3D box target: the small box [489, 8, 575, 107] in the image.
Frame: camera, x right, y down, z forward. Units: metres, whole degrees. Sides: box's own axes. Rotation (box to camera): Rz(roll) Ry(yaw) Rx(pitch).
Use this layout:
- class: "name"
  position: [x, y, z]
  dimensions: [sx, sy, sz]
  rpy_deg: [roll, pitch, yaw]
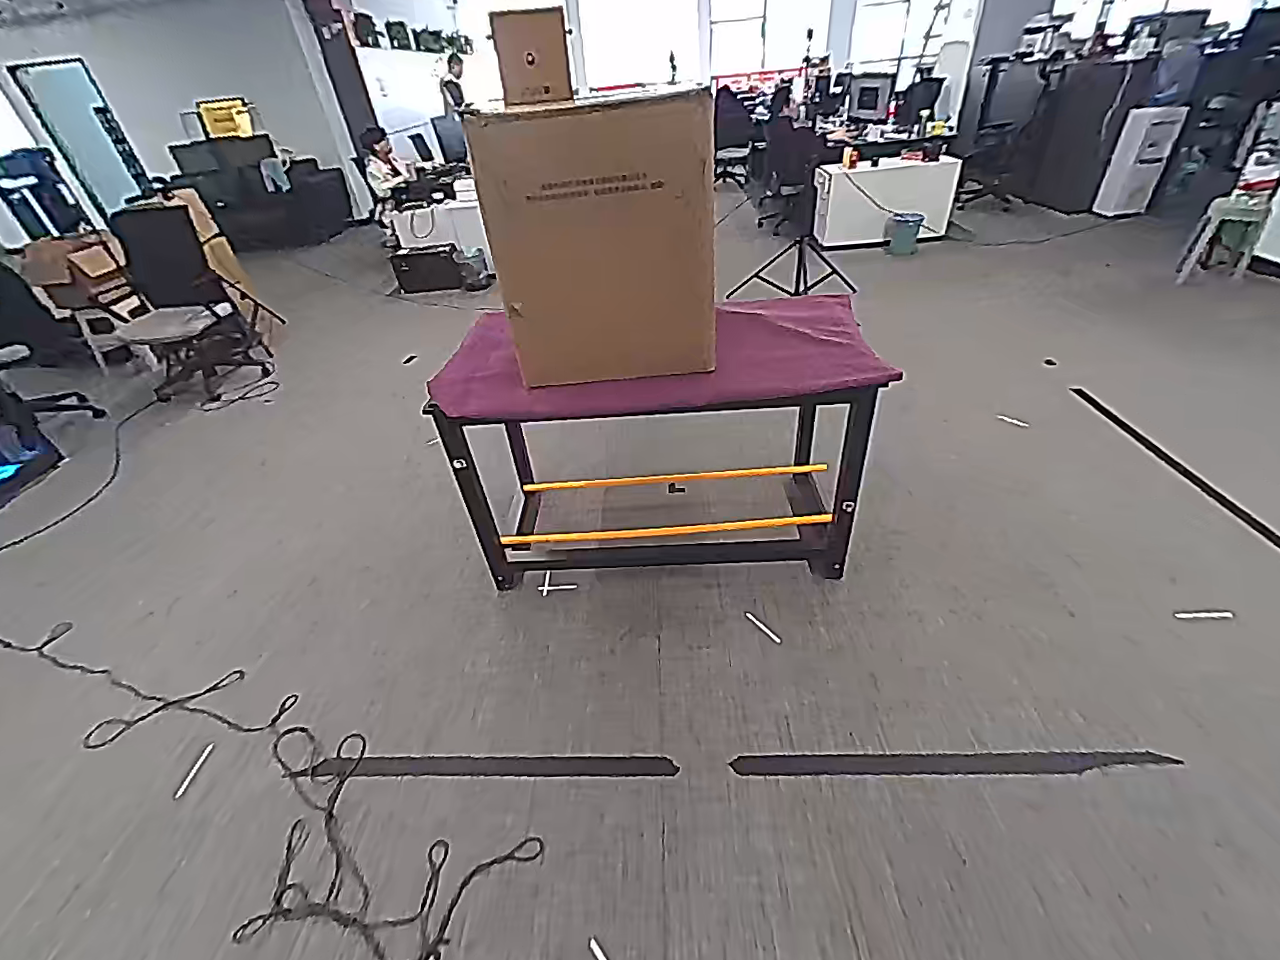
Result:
- class: "small box"
  position: [-0.245, -0.982, 1.267]
  dimensions: [0.168, 0.176, 0.179]
  rpy_deg: [-7, 37, -4]
